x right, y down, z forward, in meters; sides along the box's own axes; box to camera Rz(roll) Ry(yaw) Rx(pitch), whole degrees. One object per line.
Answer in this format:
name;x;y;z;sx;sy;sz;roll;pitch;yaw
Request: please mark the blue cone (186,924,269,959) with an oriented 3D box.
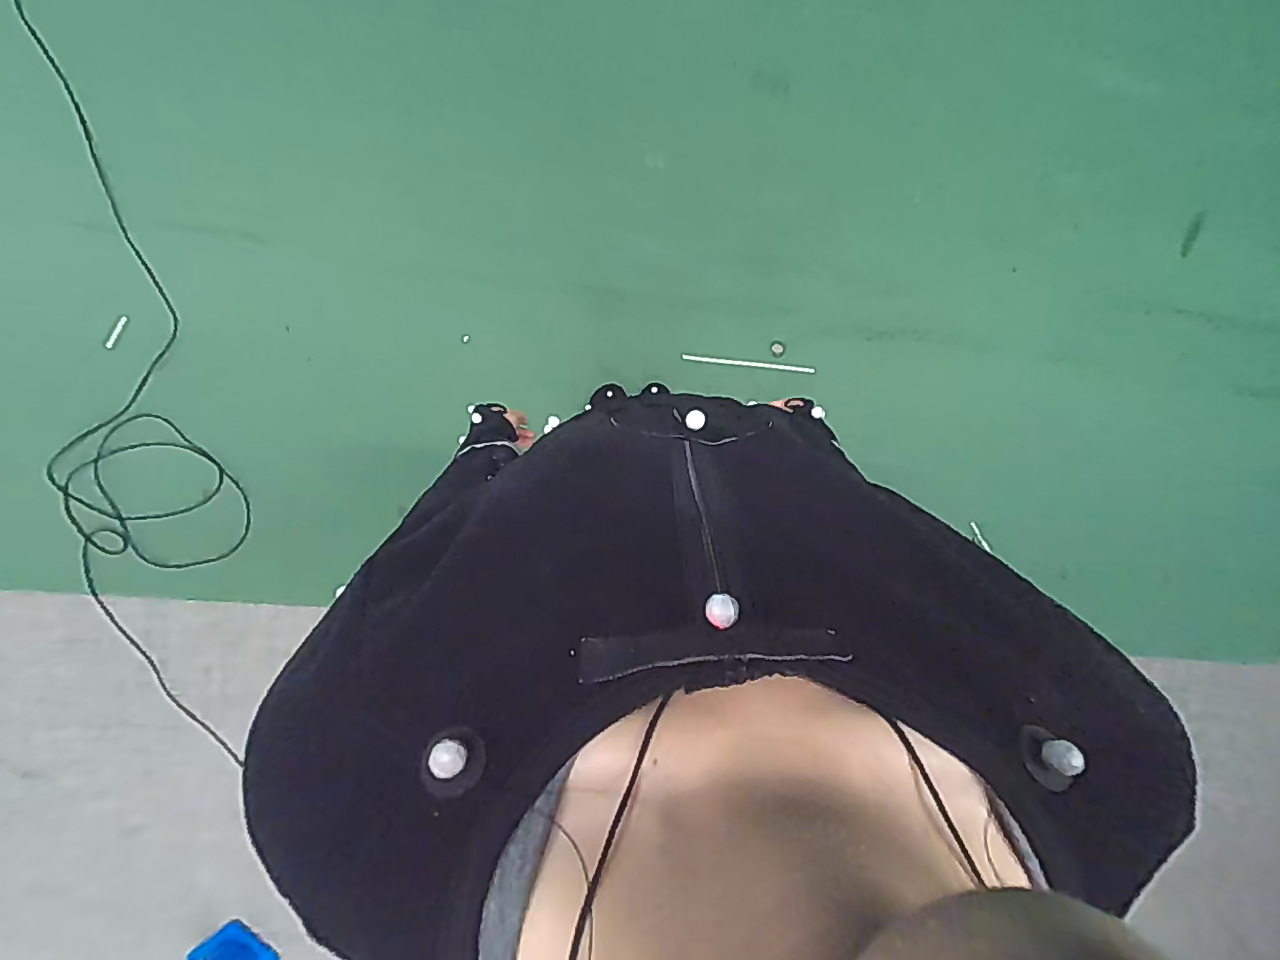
blue cone;-1.211;1.457;1.448;0.193;0.380;0.192;-38;102;4
